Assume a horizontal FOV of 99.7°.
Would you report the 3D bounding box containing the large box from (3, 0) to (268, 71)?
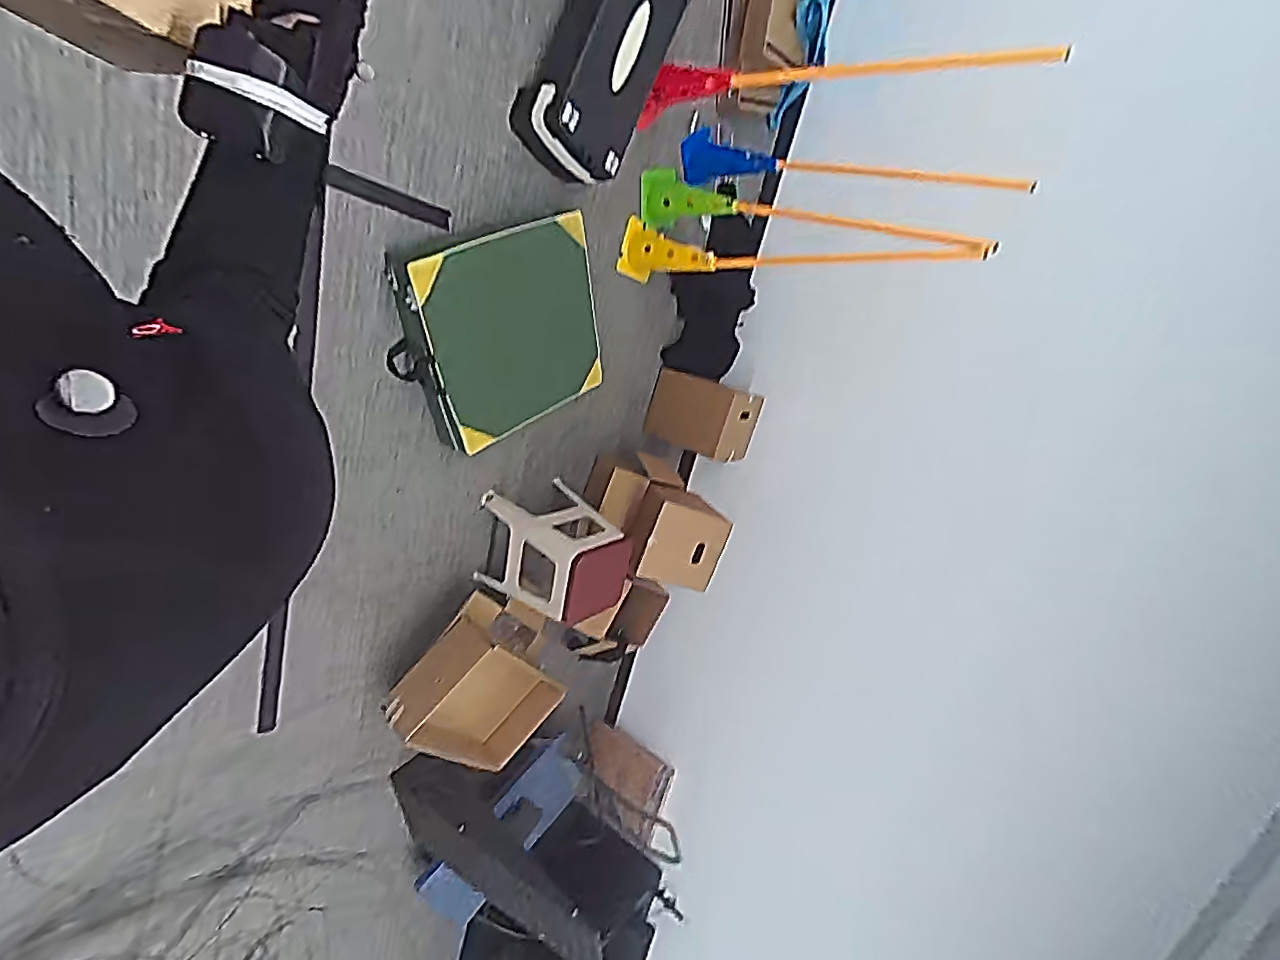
[{"bbox_3d":[-0.444,-0.497,0.270,0.408,0.320,0.320,7,109,-57],"label":"large box"}]
